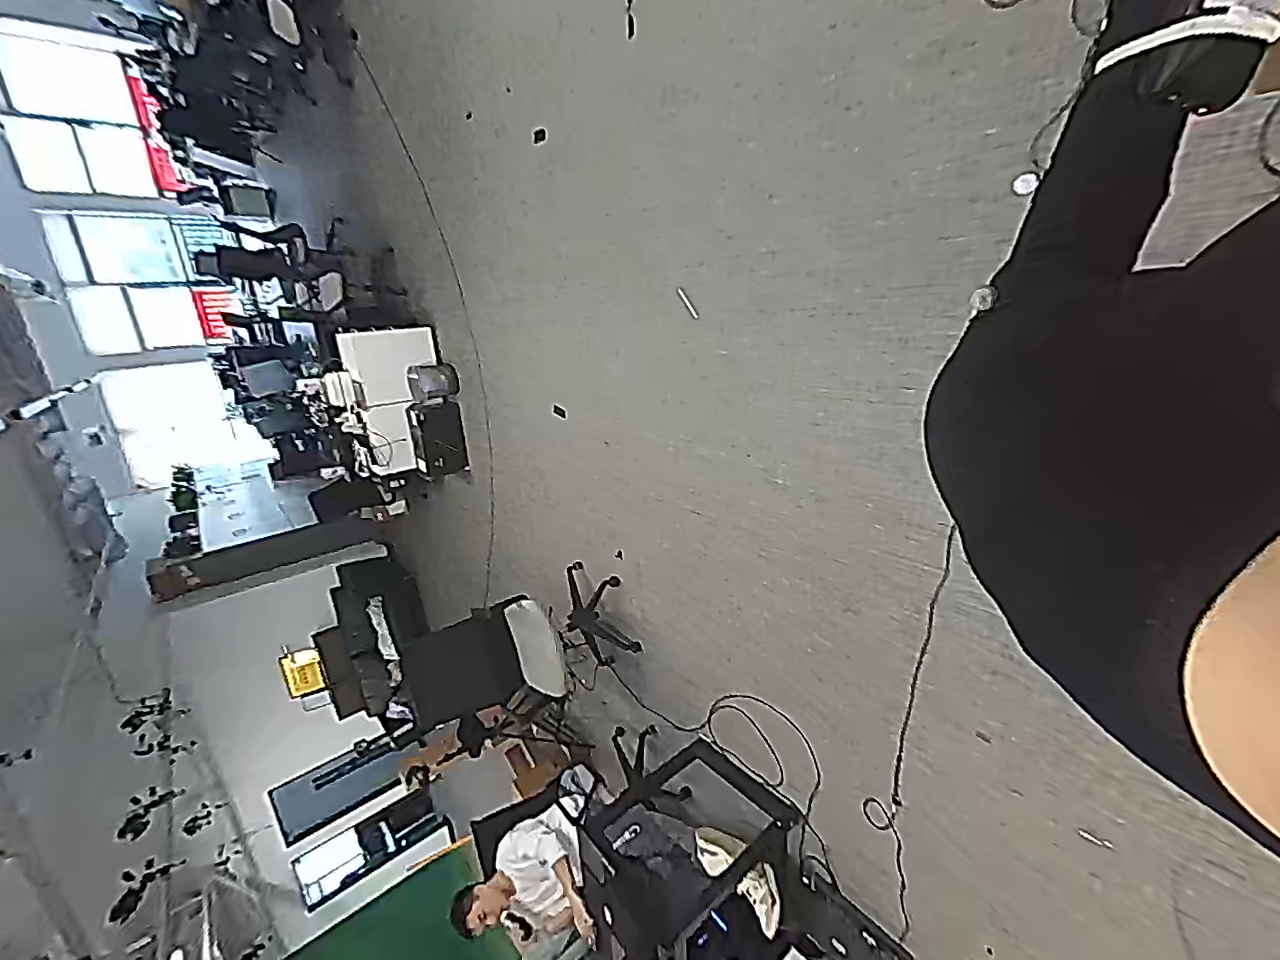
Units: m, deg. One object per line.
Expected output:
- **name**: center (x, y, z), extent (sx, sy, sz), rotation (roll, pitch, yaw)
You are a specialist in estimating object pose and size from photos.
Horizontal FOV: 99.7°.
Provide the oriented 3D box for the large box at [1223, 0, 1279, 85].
- **large box**: center (0.622, -0.444, 0.259), extent (0.408, 0.320, 0.320), rotation (21, 124, 44)
